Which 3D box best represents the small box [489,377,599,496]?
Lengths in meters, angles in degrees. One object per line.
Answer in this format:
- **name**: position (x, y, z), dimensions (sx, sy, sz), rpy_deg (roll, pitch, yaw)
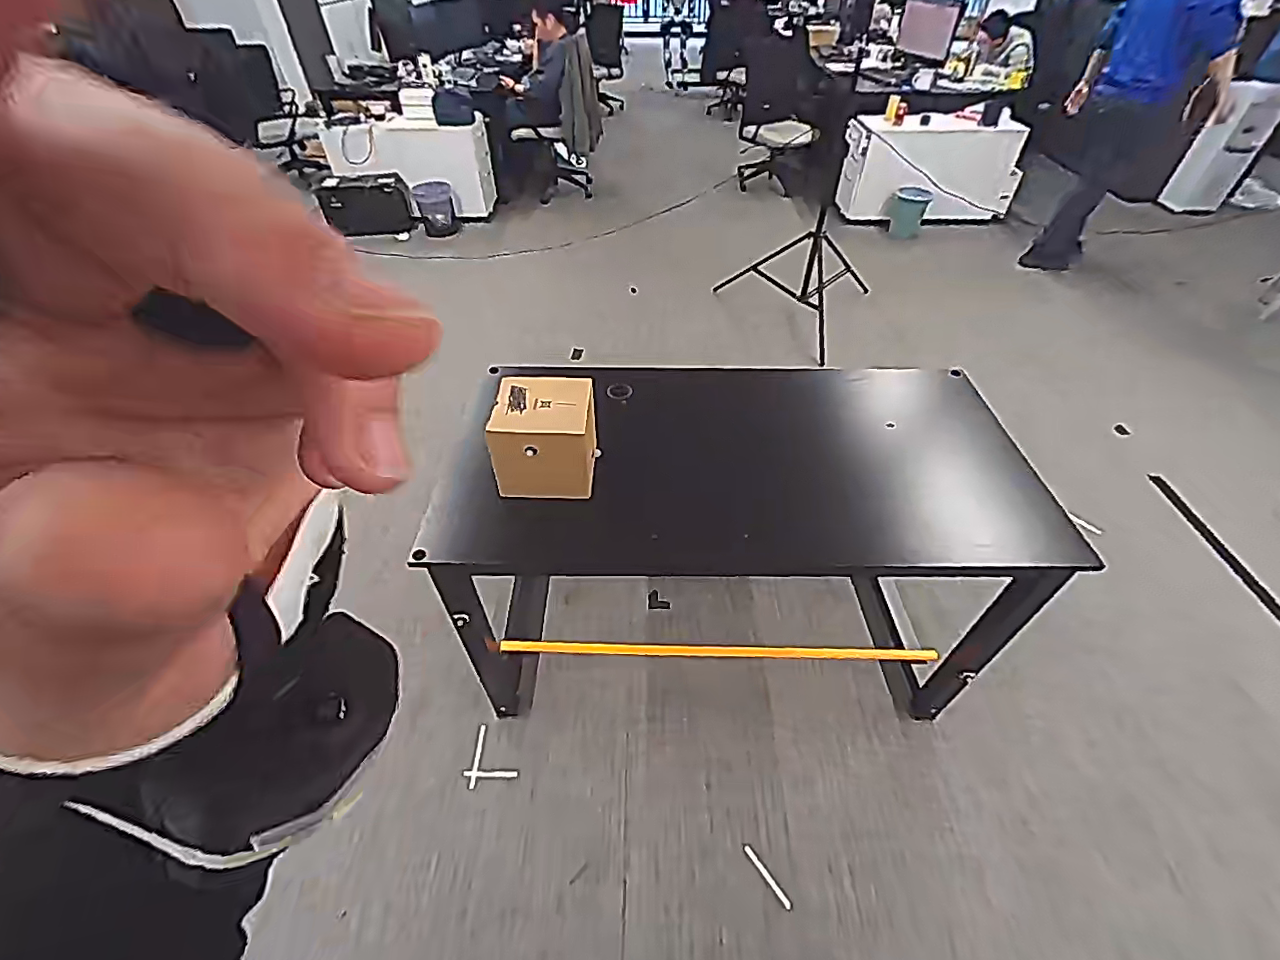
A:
- **small box**: position (-0.176, -0.083, 1.051), dimensions (0.179, 0.176, 0.168), rpy_deg (2, 46, 0)
